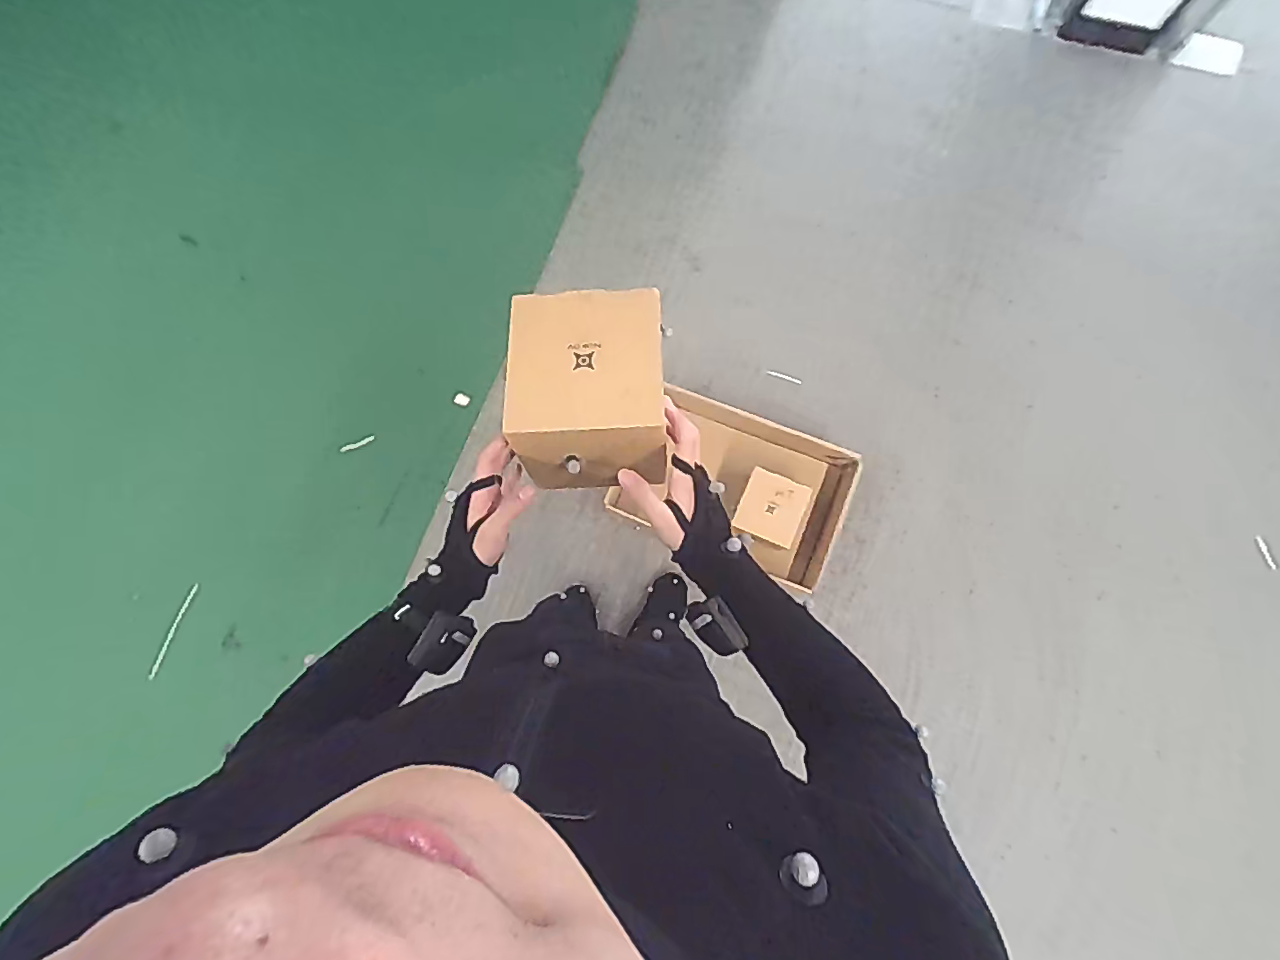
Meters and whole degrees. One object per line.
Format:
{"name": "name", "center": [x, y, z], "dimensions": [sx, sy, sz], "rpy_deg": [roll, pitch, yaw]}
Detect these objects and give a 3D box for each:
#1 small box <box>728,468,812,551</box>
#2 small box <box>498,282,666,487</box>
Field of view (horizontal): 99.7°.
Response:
{"name": "small box", "center": [0.352, 0.088, 1.498], "dimensions": [0.168, 0.176, 0.179], "rpy_deg": [24, 83, 8]}
{"name": "small box", "center": [-0.058, -0.099, 0.631], "dimensions": [0.168, 0.176, 0.179], "rpy_deg": [-5, 66, 1]}
